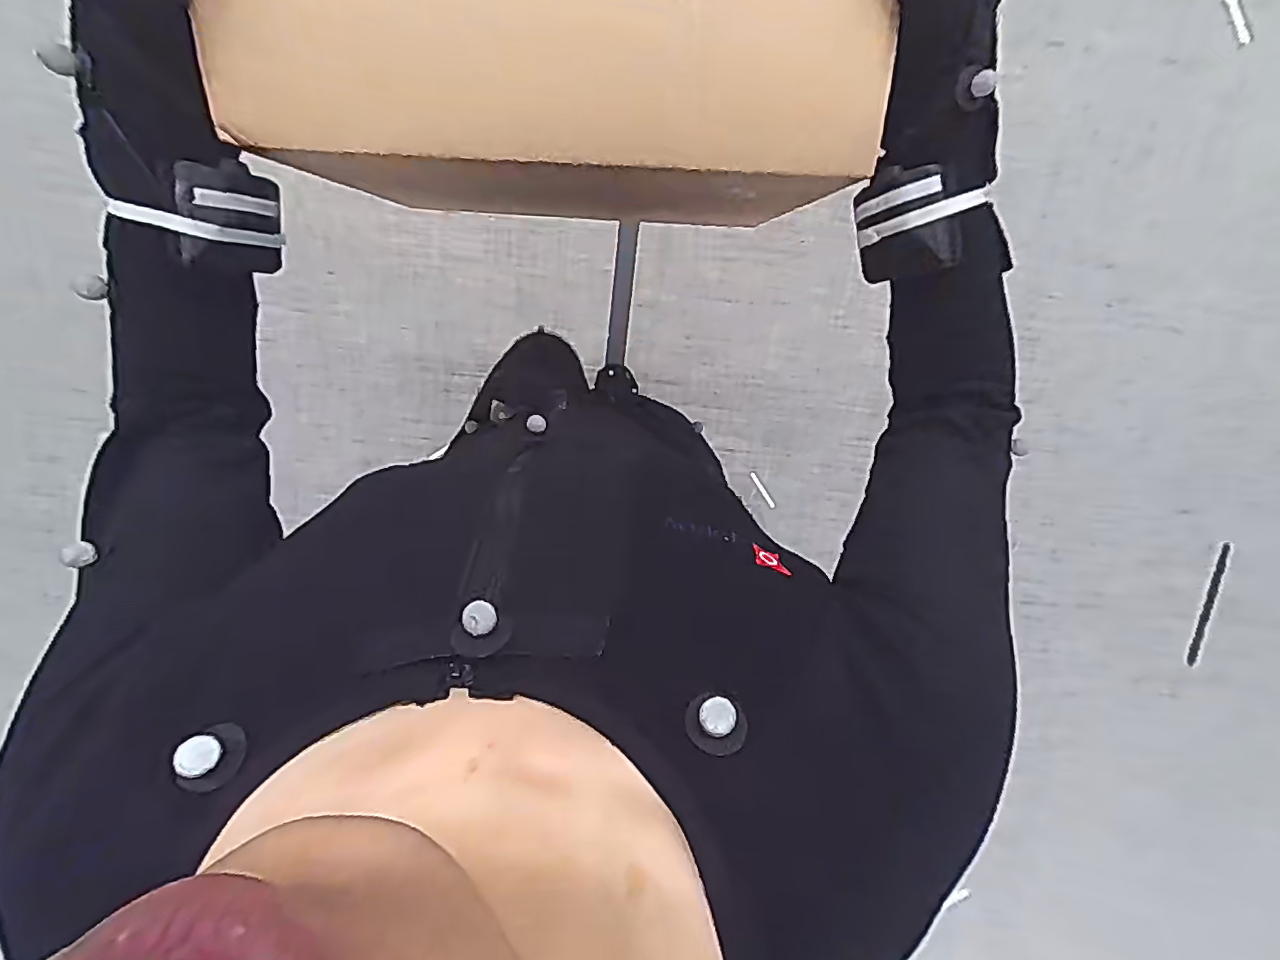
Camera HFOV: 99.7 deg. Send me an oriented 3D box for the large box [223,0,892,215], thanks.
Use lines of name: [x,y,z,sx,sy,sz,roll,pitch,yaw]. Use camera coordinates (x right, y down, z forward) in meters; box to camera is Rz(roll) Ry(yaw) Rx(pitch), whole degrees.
large box: [-0.049,-0.407,0.436,0.408,0.320,0.320,1,110,-3]
